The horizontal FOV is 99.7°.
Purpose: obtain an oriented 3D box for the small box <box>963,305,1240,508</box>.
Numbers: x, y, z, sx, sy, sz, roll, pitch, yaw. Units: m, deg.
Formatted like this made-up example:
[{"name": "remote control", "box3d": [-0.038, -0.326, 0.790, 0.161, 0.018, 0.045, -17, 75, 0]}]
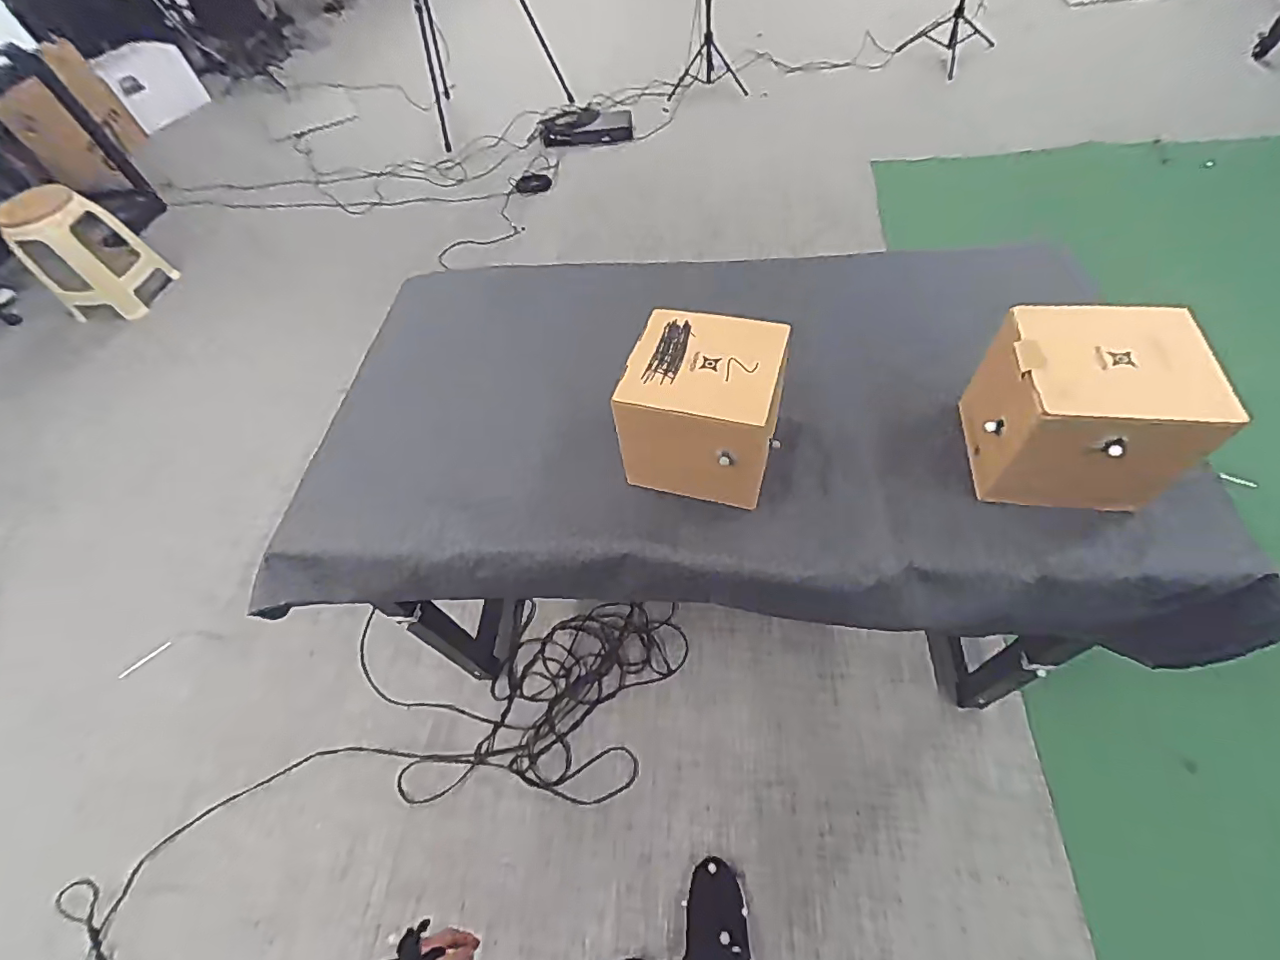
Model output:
[{"name": "small box", "box3d": [0.499, -0.081, 0.627, 0.179, 0.176, 0.168, 5, 58, 11]}]
